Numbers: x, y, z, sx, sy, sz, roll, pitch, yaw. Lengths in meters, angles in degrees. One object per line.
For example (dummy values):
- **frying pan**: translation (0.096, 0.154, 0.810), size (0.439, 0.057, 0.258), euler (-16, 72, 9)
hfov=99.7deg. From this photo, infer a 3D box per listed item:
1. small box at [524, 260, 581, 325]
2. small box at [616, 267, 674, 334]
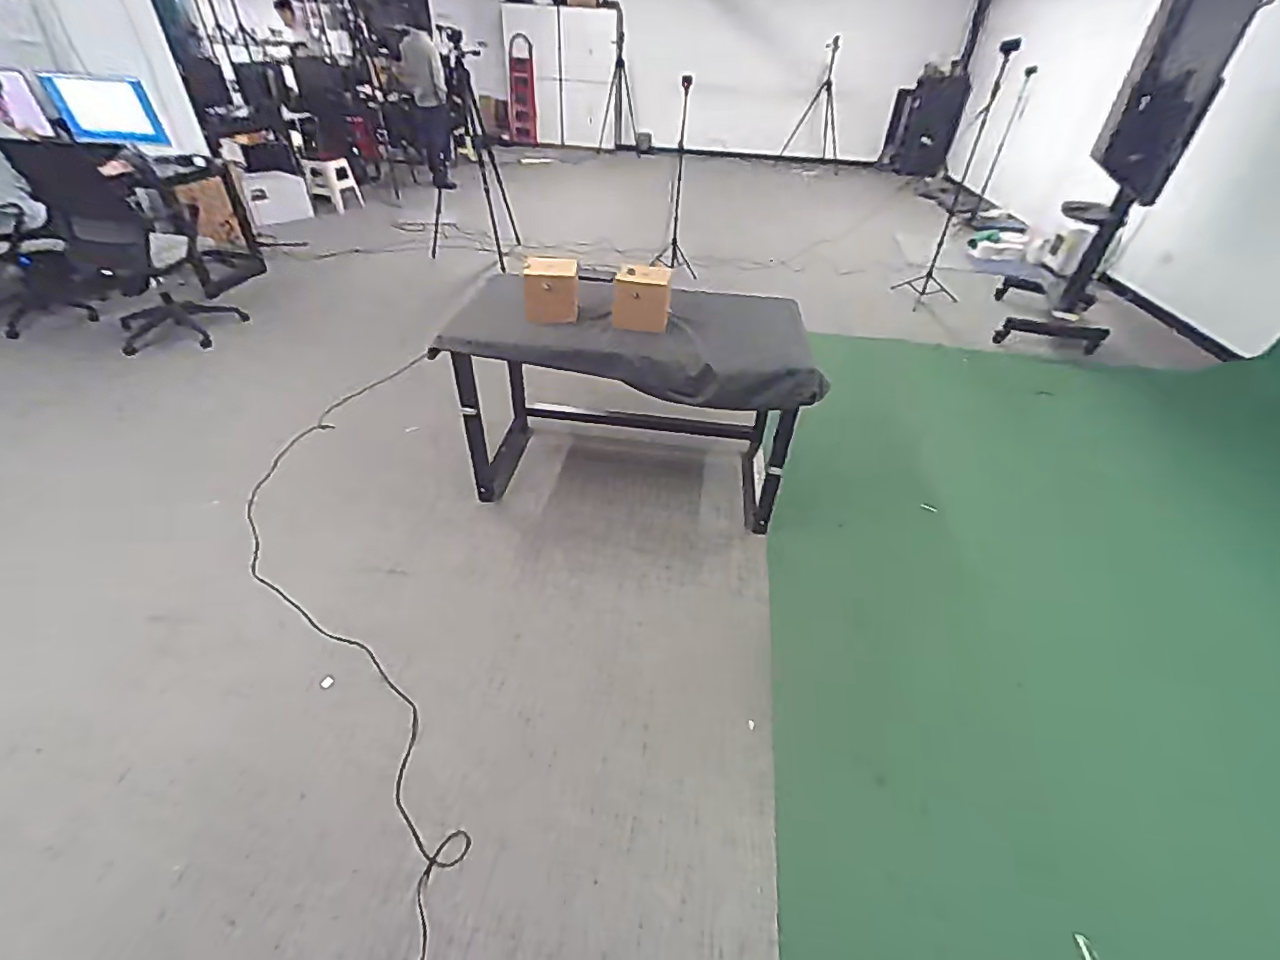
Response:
- **small box**: translation (-0.299, -0.650, 1.878), size (0.179, 0.176, 0.168), euler (2, 40, -4)
- **small box**: translation (0.015, -0.613, 1.852), size (0.179, 0.176, 0.168), euler (8, 39, 5)
